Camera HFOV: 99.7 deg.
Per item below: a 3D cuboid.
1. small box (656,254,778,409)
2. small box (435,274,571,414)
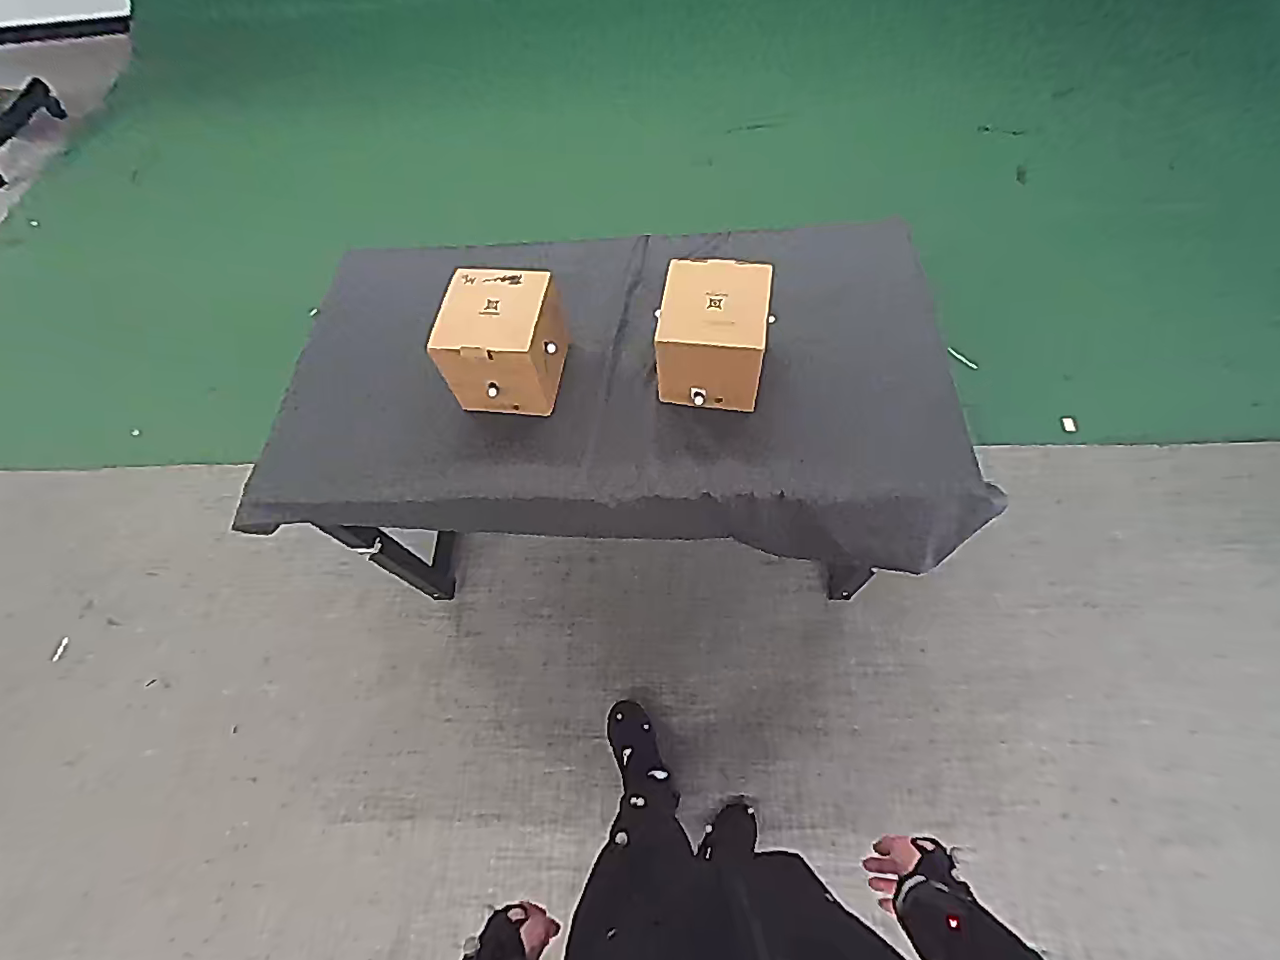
[{"bbox_3d":[0.127,-0.242,0.893,0.168,0.176,0.179,8,64,11],"label":"small box"},{"bbox_3d":[-0.224,-0.229,0.937,0.168,0.176,0.179,2,63,7],"label":"small box"}]
